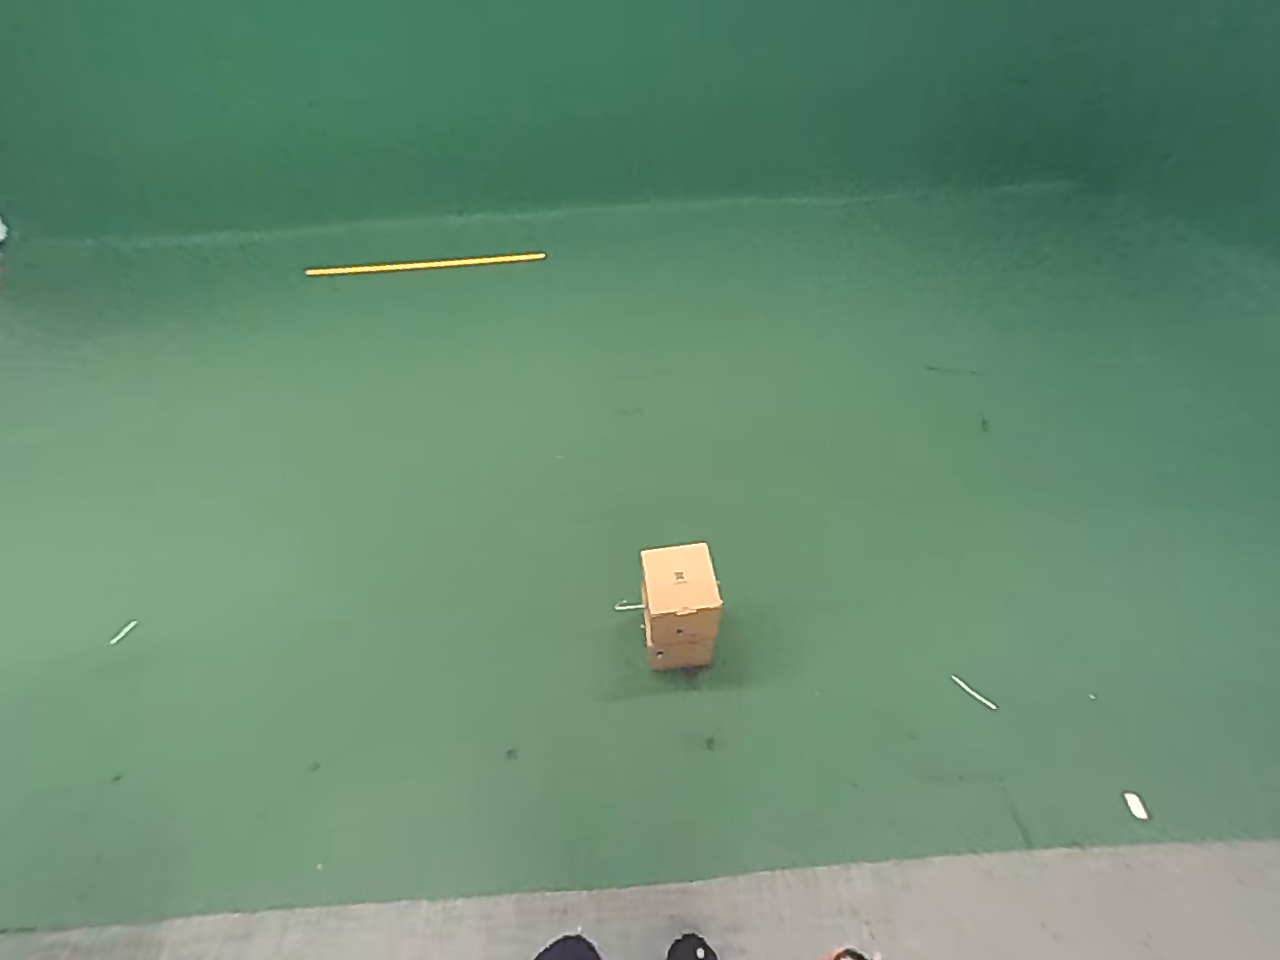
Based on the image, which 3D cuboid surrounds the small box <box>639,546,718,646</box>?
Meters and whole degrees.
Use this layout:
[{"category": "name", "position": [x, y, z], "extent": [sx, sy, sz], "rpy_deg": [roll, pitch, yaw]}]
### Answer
[{"category": "small box", "position": [0.088, 0.288, 1.336], "extent": [0.168, 0.176, 0.179], "rpy_deg": [-6, 51, -4]}]
